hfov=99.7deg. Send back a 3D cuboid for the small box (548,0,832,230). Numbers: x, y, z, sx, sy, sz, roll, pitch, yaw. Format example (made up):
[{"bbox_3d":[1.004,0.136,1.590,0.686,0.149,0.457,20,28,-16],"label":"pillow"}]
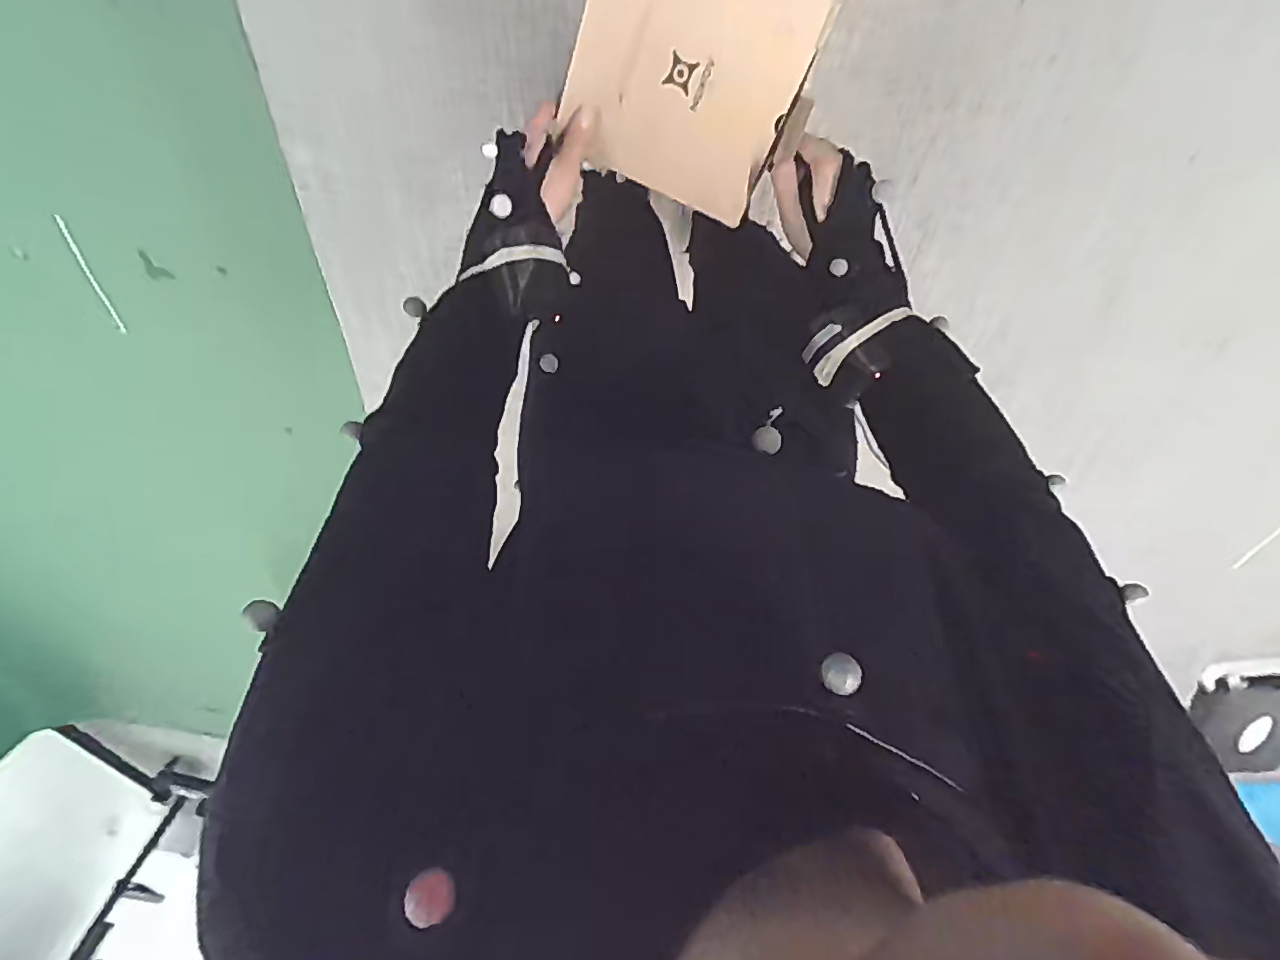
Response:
[{"bbox_3d":[0.038,-0.351,0.485,0.179,0.176,0.168,20,122,-6],"label":"small box"}]
